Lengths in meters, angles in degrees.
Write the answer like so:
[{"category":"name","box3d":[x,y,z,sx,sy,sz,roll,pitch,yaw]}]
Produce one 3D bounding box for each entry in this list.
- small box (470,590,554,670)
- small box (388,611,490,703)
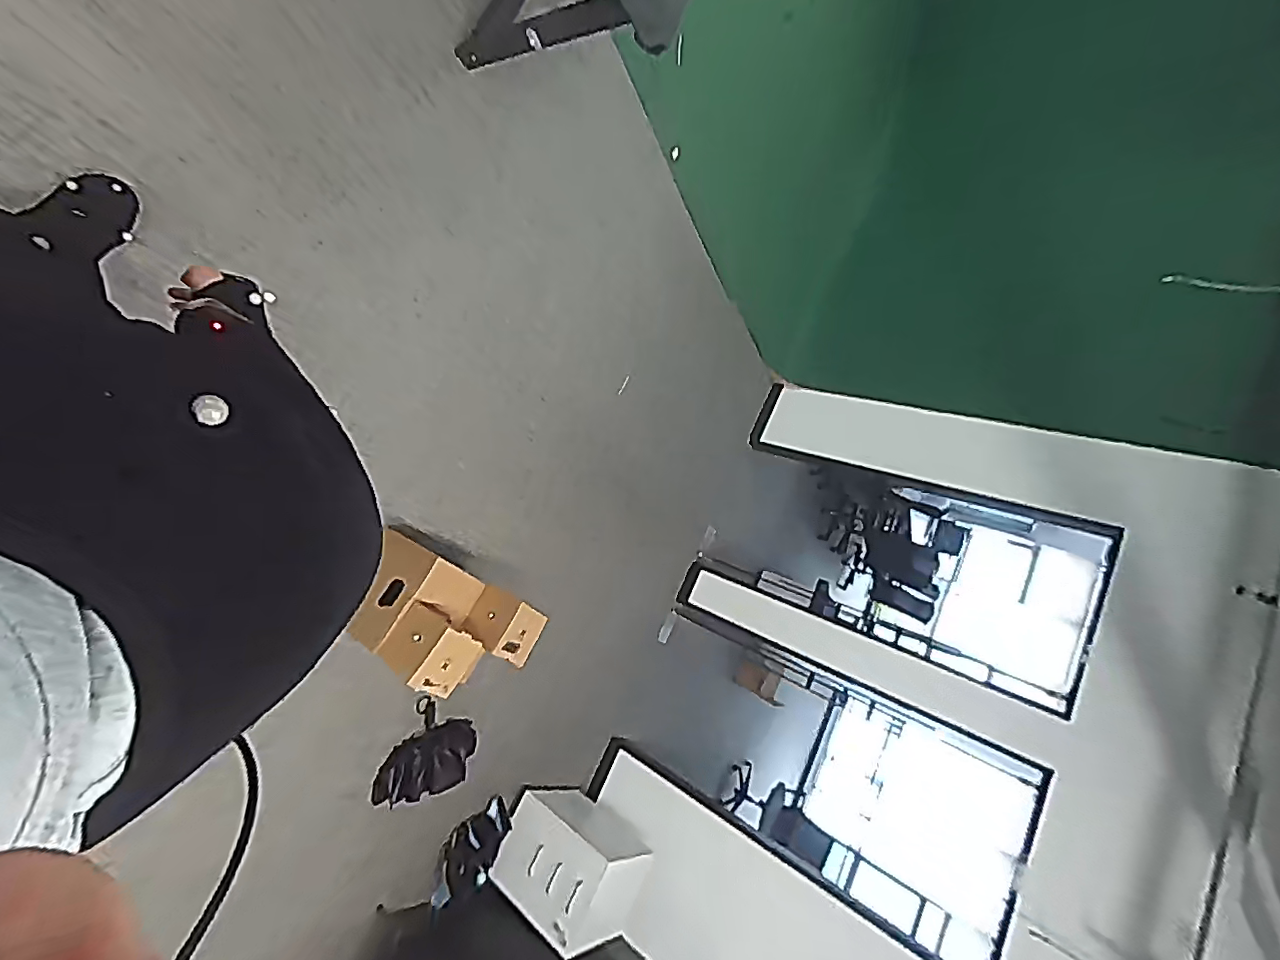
[{"category":"small box","box3d":[-0.417,0.480,1.740,0.179,0.176,0.168,-63,146,-21]},{"category":"small box","box3d":[-0.568,0.494,1.525,0.179,0.176,0.168,-59,145,-18]}]
